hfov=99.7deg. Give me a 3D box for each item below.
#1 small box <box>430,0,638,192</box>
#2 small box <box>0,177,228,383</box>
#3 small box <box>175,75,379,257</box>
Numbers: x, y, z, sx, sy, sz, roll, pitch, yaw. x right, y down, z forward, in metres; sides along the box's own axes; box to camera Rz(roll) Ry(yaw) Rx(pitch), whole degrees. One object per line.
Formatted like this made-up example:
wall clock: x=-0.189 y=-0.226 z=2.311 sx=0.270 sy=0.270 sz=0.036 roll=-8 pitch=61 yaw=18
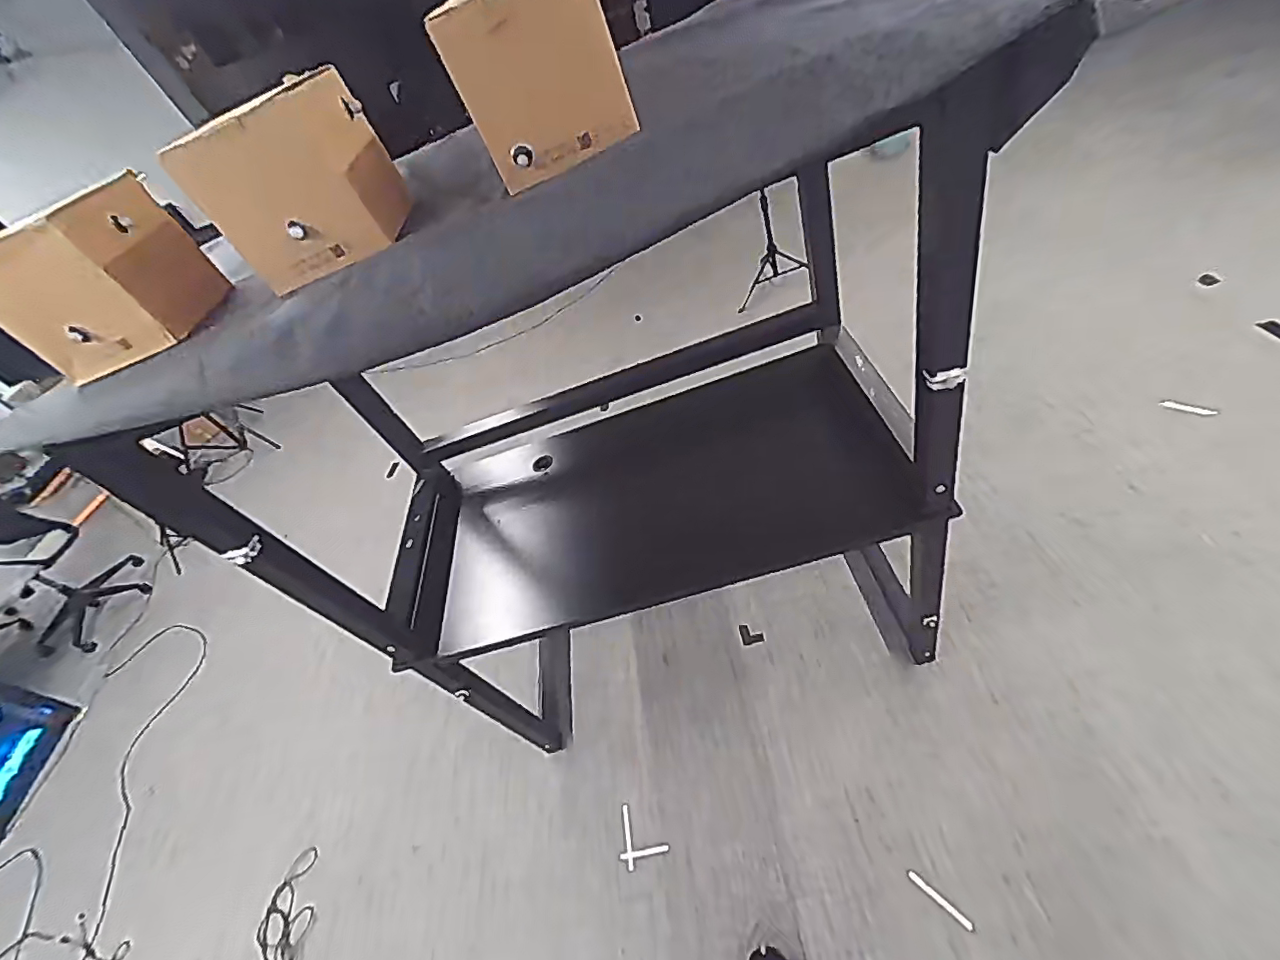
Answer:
small box: x=-0.110 y=-0.461 z=0.620 sx=0.168 sy=0.176 sz=0.179 roll=-19 pitch=44 yaw=8
small box: x=-0.693 y=-0.257 z=0.704 sx=0.168 sy=0.176 sz=0.179 roll=-19 pitch=44 yaw=7
small box: x=-0.538 y=-0.479 z=0.834 sx=0.179 sy=0.176 sz=0.168 roll=-20 pitch=45 yaw=7
